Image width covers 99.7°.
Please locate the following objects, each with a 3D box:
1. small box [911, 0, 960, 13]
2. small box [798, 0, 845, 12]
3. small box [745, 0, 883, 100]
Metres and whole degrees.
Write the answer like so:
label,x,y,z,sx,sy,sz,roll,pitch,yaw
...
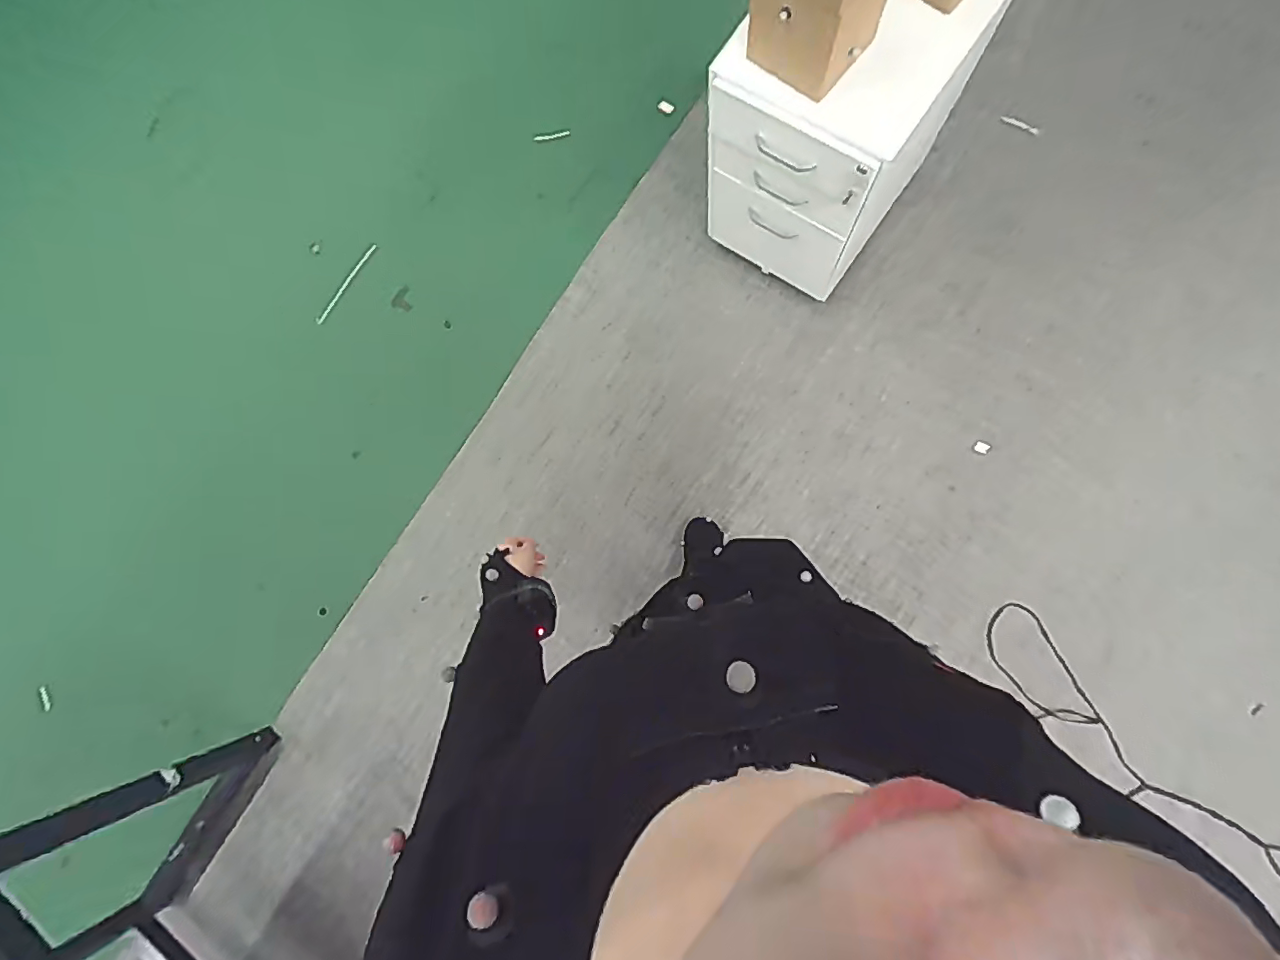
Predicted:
label,x,y,z,sx,sy,sz,roll,pitch,yaw
small box,0.538,-0.977,0.937,0.179,0.176,0.168,42,89,11
small box,0.280,-0.842,0.783,0.179,0.176,0.168,40,86,11
small box,0.302,-0.820,0.942,0.179,0.176,0.168,41,88,9
